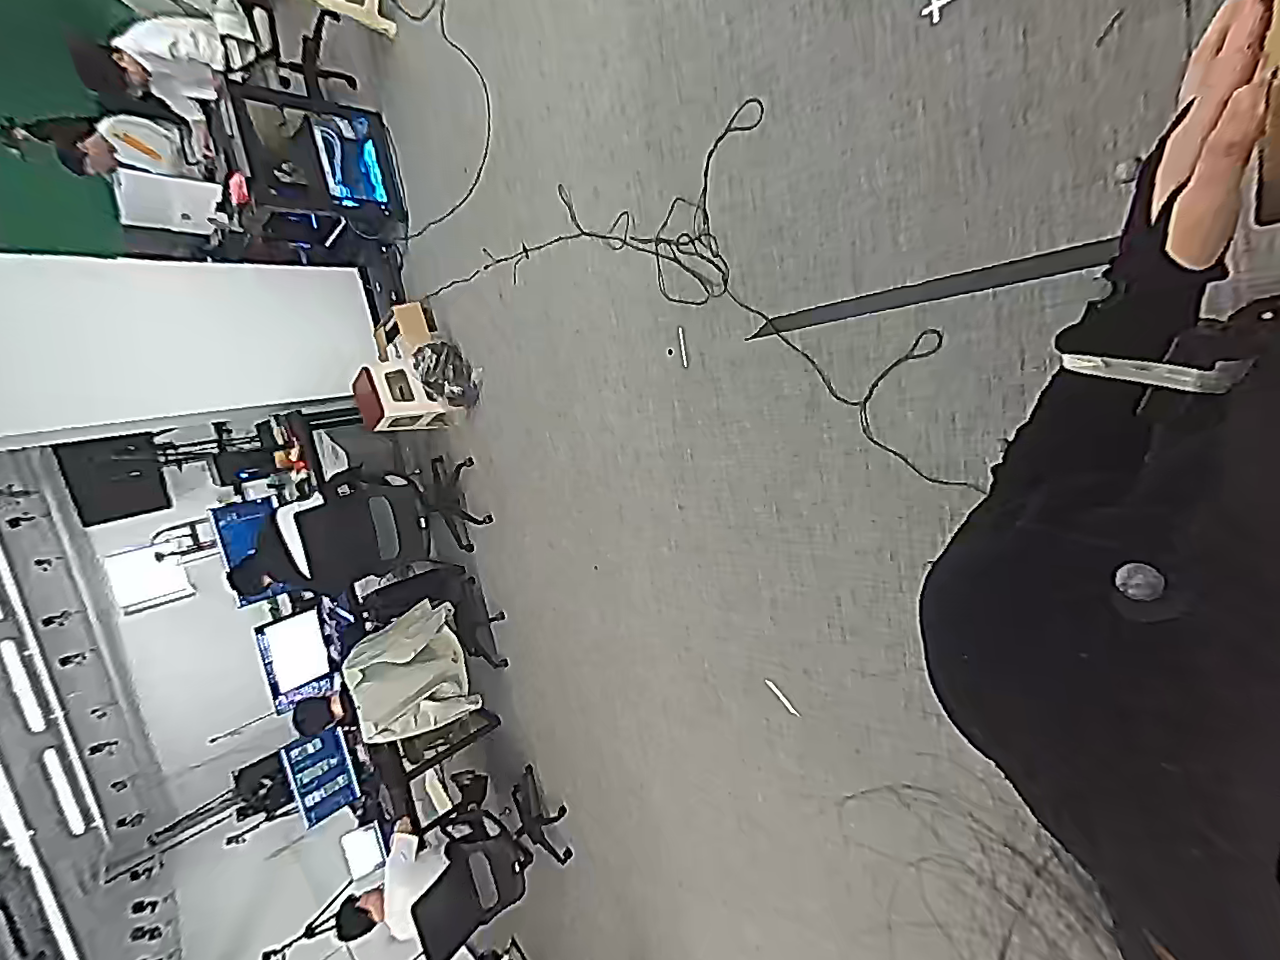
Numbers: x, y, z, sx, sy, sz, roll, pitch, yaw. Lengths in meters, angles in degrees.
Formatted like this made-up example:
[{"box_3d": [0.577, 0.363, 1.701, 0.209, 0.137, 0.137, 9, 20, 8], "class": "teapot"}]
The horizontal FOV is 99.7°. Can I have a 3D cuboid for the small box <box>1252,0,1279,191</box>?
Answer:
[{"box_3d": [0.372, -0.240, 0.213, 0.168, 0.176, 0.179, 5, 90, 48], "class": "small box"}]
